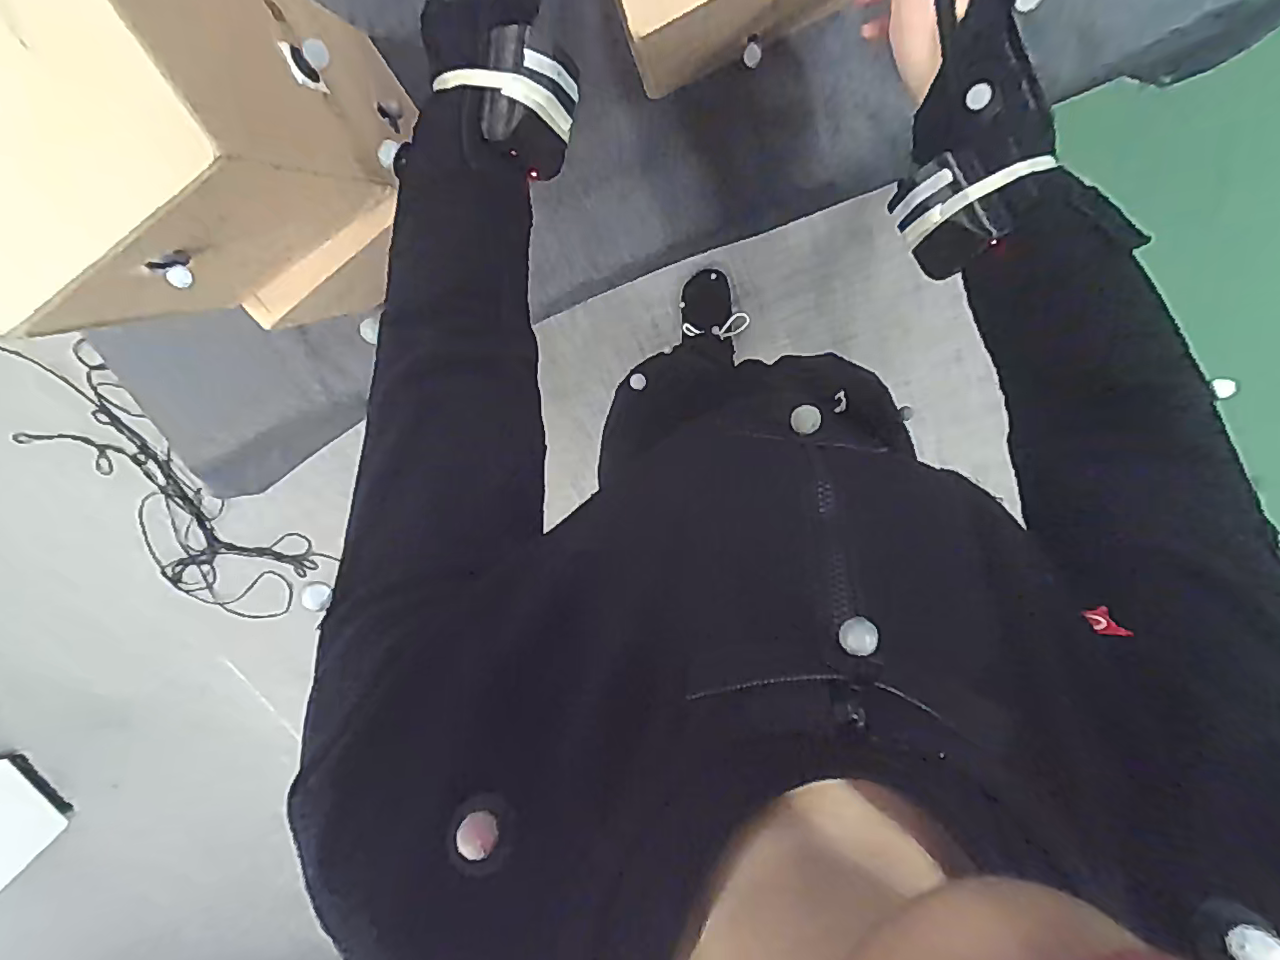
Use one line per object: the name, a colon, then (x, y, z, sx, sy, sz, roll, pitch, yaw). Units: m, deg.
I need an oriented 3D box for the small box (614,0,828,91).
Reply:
small box: (0.051, -0.401, 0.359, 0.179, 0.176, 0.168, -19, 112, 13)

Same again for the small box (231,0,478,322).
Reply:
small box: (-0.271, -0.259, 0.451, 0.168, 0.176, 0.179, -29, 109, 17)

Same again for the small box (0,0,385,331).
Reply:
small box: (-0.286, -0.206, 0.298, 0.179, 0.176, 0.168, -25, 111, 14)
